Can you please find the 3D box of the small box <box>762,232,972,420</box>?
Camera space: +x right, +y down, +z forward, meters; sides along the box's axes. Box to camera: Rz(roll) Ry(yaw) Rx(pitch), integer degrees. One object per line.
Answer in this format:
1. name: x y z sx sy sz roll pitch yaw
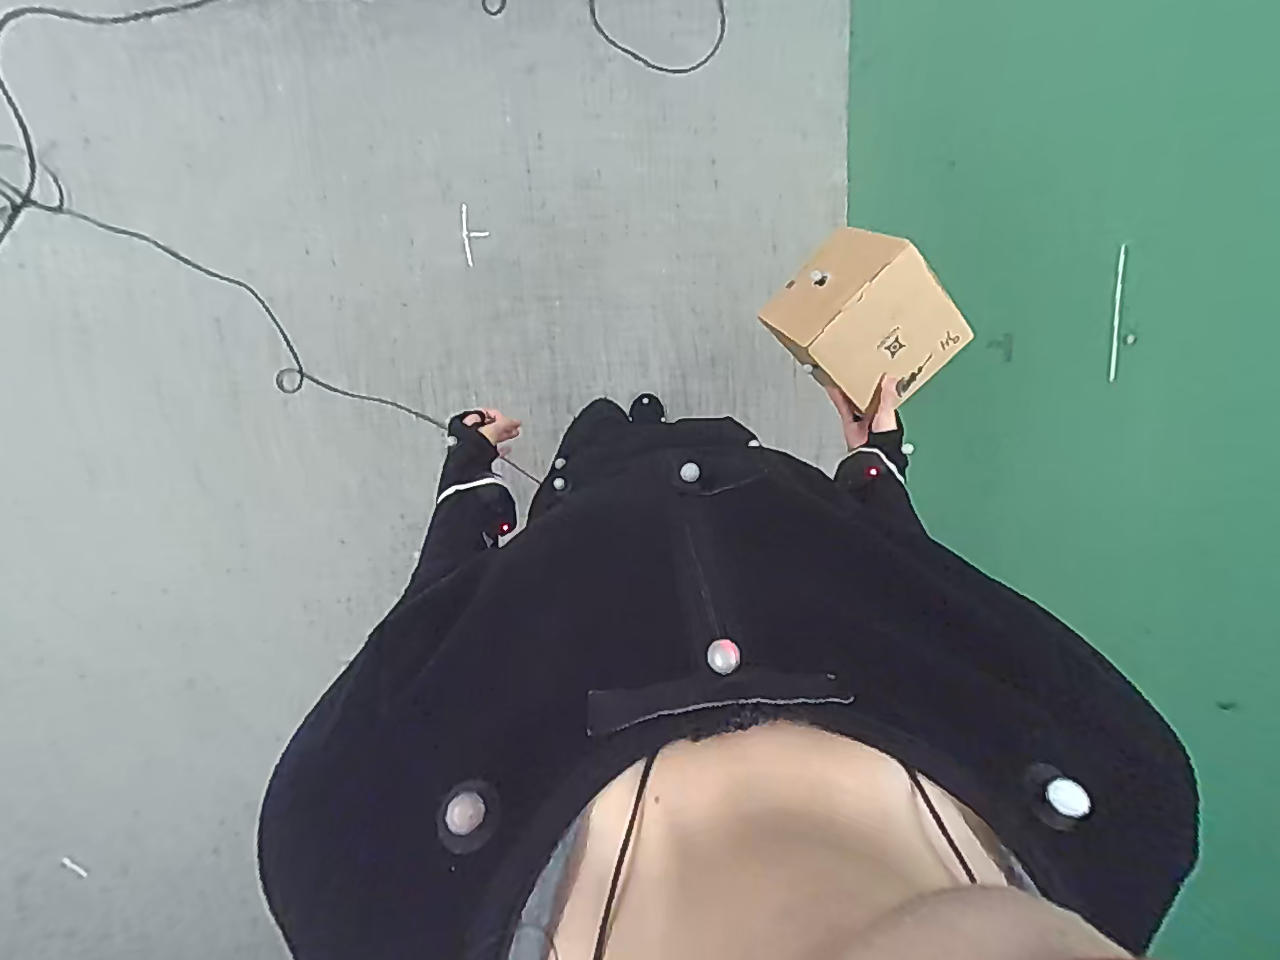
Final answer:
1. small box: 0.300 -0.219 0.748 0.179 0.176 0.168 35 108 -27
